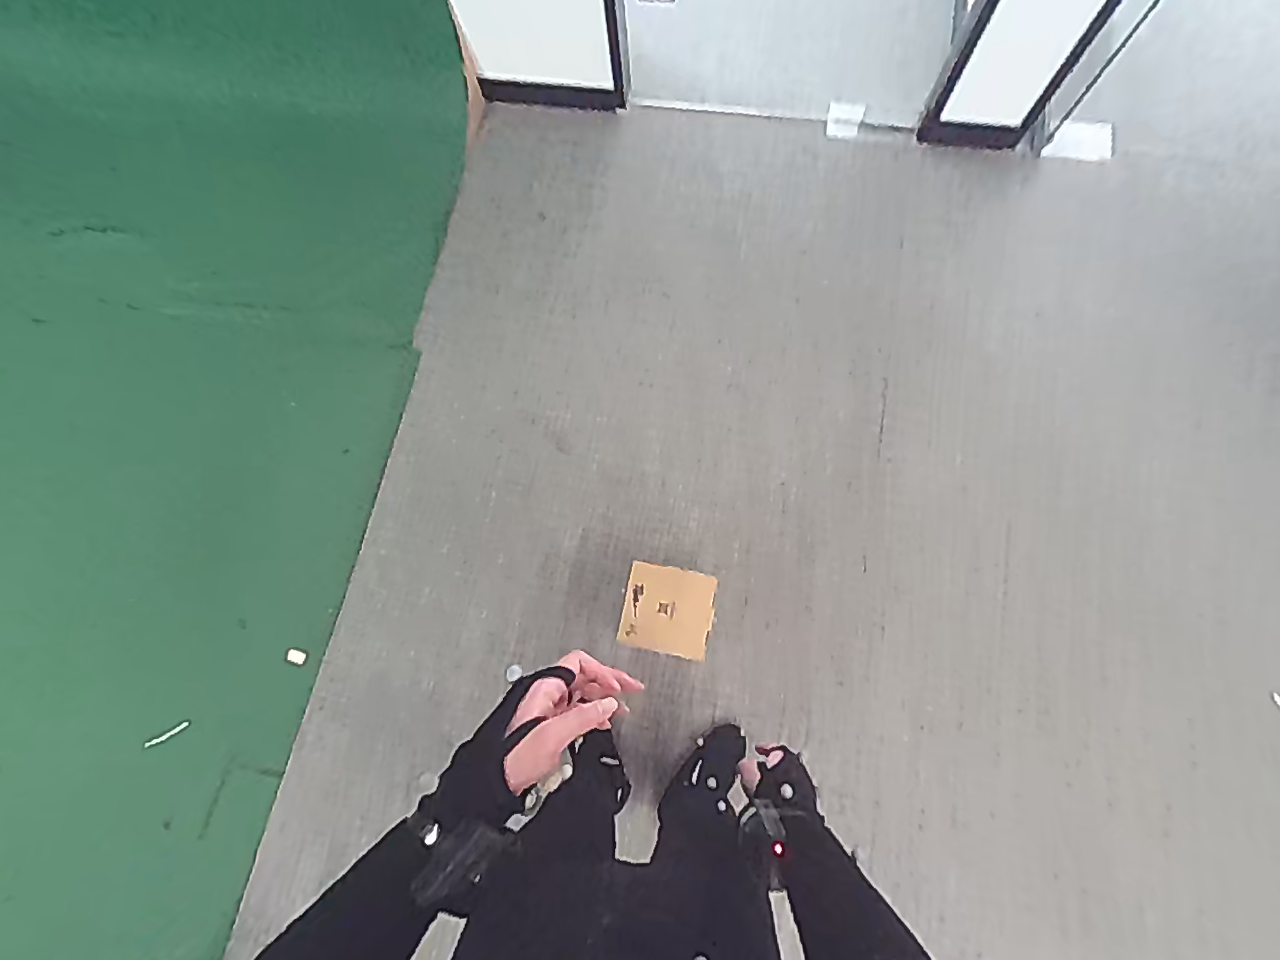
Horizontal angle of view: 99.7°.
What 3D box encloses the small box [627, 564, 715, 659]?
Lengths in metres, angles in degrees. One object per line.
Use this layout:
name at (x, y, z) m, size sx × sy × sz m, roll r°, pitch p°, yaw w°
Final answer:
small box at (0.077, 0.312, 1.289) m, size 0.168 × 0.176 × 0.179 m, roll 13°, pitch 78°, yaw 9°
